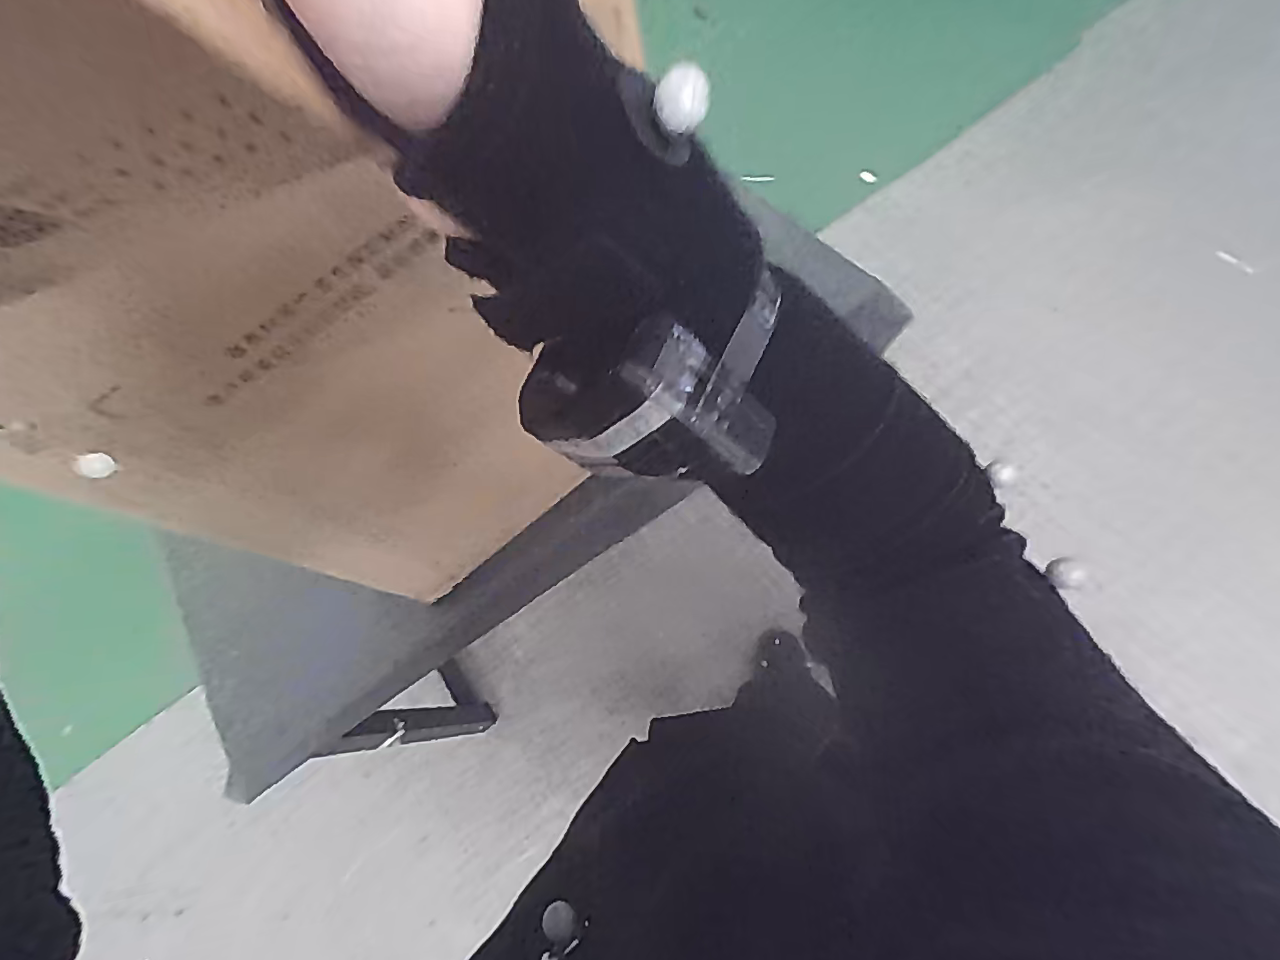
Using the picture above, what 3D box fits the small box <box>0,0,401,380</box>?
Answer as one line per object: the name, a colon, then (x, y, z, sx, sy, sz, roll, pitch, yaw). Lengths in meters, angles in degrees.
small box: (-0.153, -0.098, 0.033, 0.168, 0.176, 0.179, -16, 101, 8)
